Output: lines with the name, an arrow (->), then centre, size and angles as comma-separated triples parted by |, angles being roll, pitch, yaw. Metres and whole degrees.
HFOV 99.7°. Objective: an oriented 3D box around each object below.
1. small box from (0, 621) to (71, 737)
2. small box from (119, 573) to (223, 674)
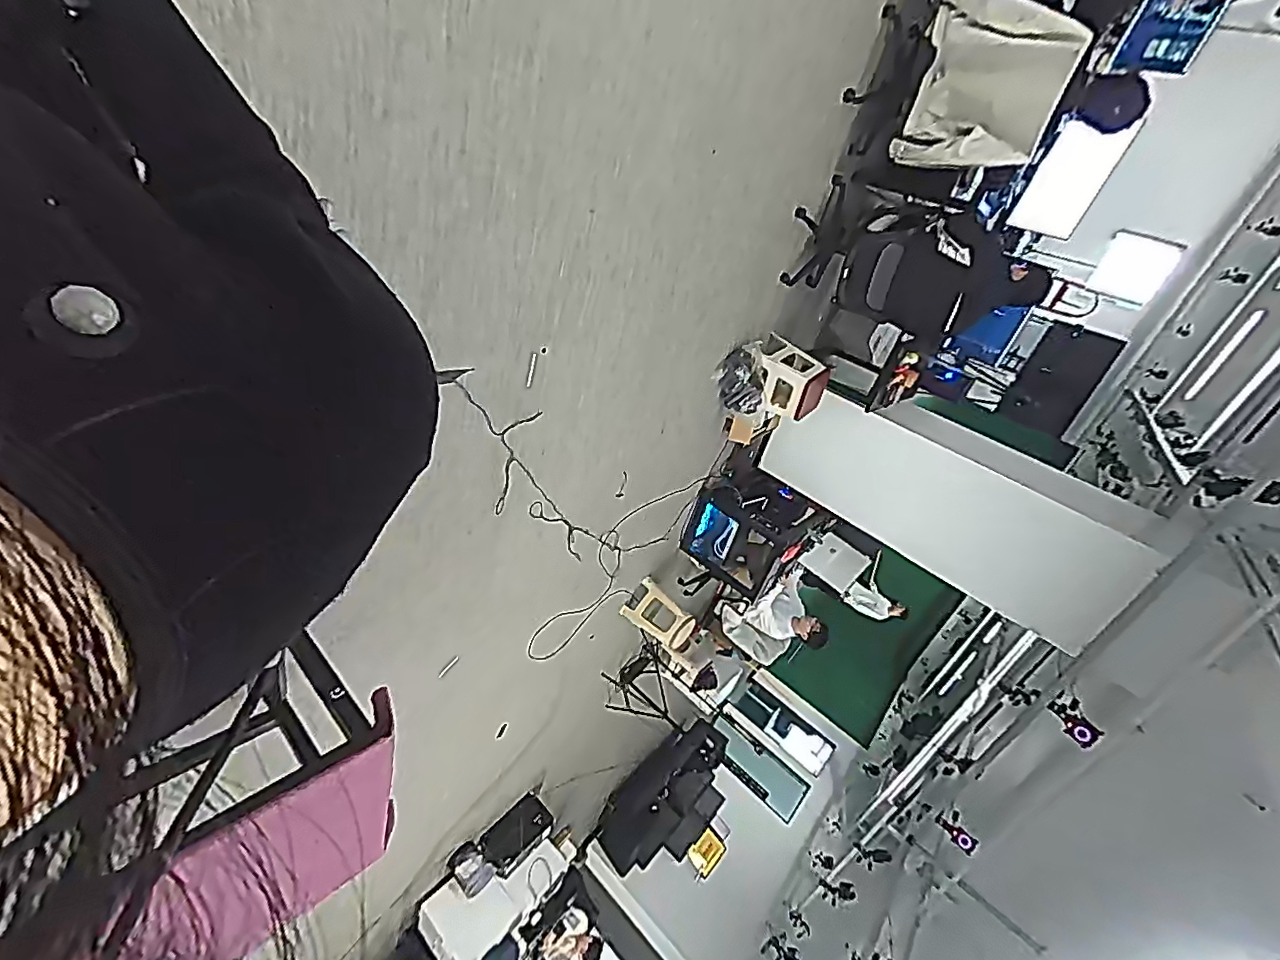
small box -> -1.463, 0.462, 1.247 | 0.168, 0.176, 0.179 | -21, 136, -48
small box -> -1.269, 0.379, 1.468 | 0.179, 0.176, 0.168 | -16, 133, -50
